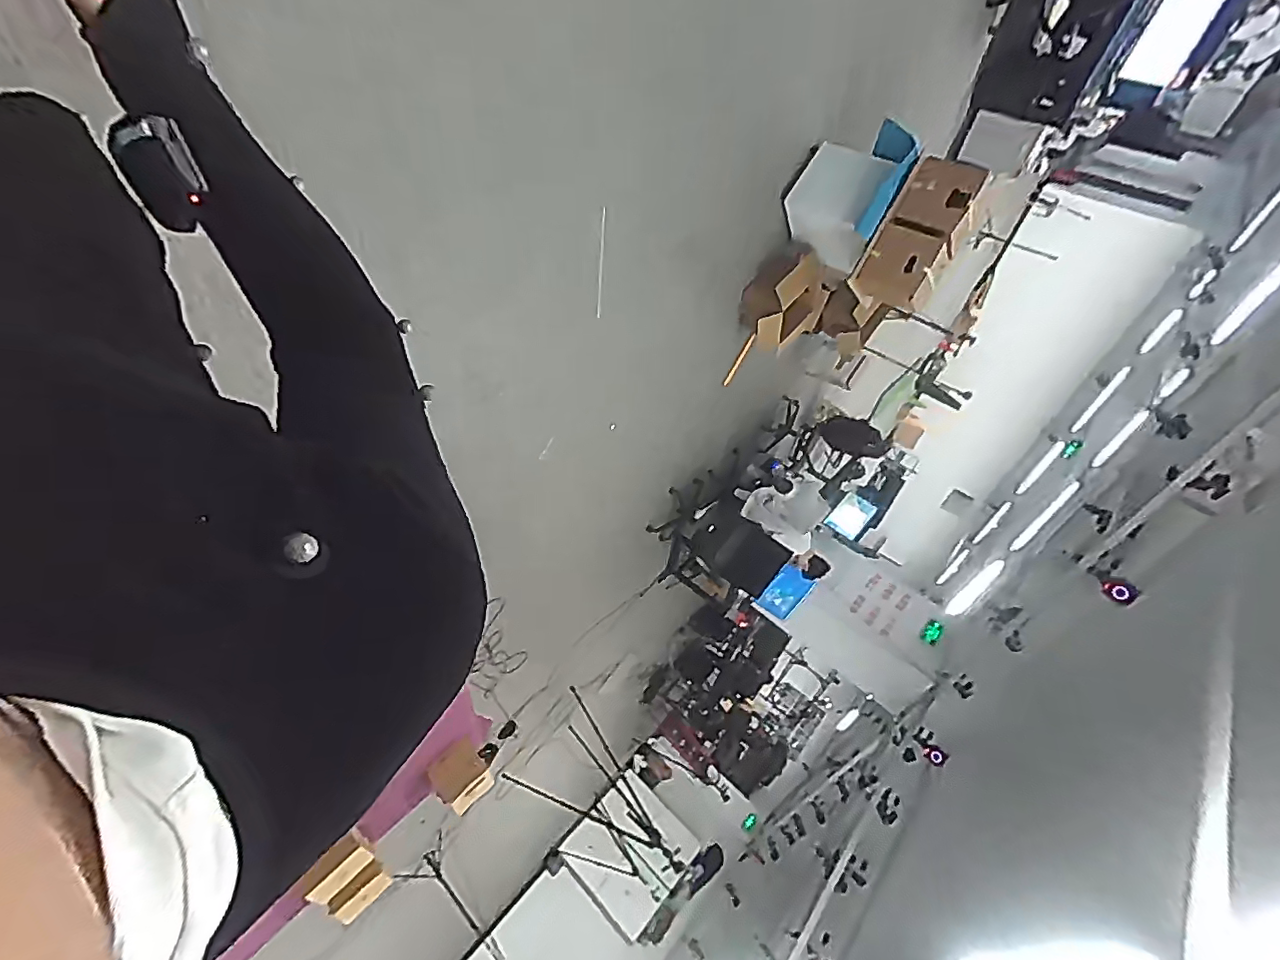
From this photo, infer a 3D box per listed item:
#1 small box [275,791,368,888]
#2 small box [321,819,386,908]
[{"bbox_3d":[-0.955,1.079,1.628,0.168,0.176,0.179,-35,151,-34],"label":"small box"},{"bbox_3d":[-1.003,1.310,1.854,0.168,0.176,0.179,-32,147,-35],"label":"small box"}]
